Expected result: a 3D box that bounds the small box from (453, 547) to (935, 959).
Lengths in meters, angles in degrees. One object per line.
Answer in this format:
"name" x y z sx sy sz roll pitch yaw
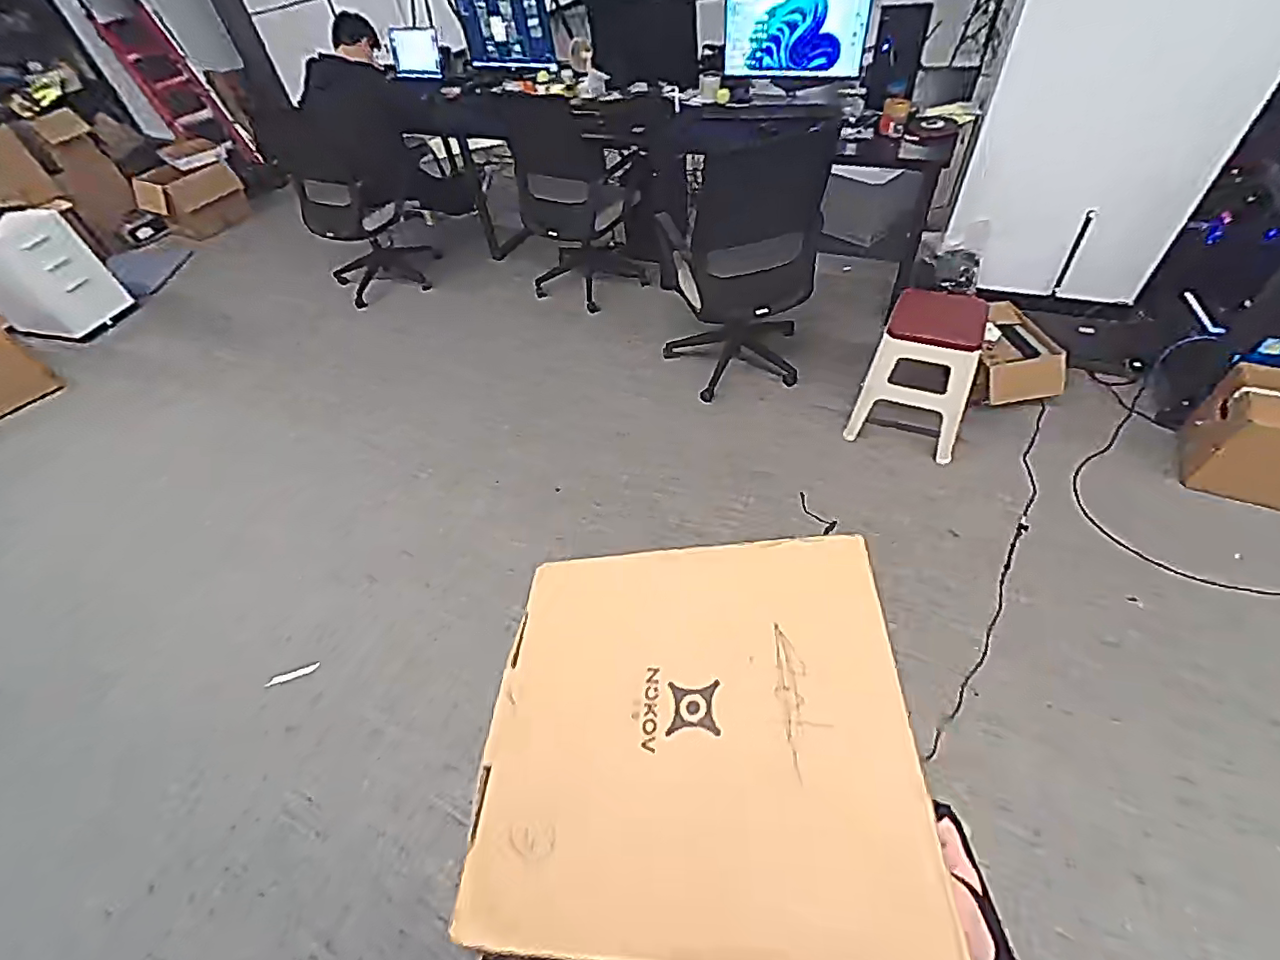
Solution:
"small box" 0.036 0.158 0.297 0.179 0.176 0.168 -7 47 12
